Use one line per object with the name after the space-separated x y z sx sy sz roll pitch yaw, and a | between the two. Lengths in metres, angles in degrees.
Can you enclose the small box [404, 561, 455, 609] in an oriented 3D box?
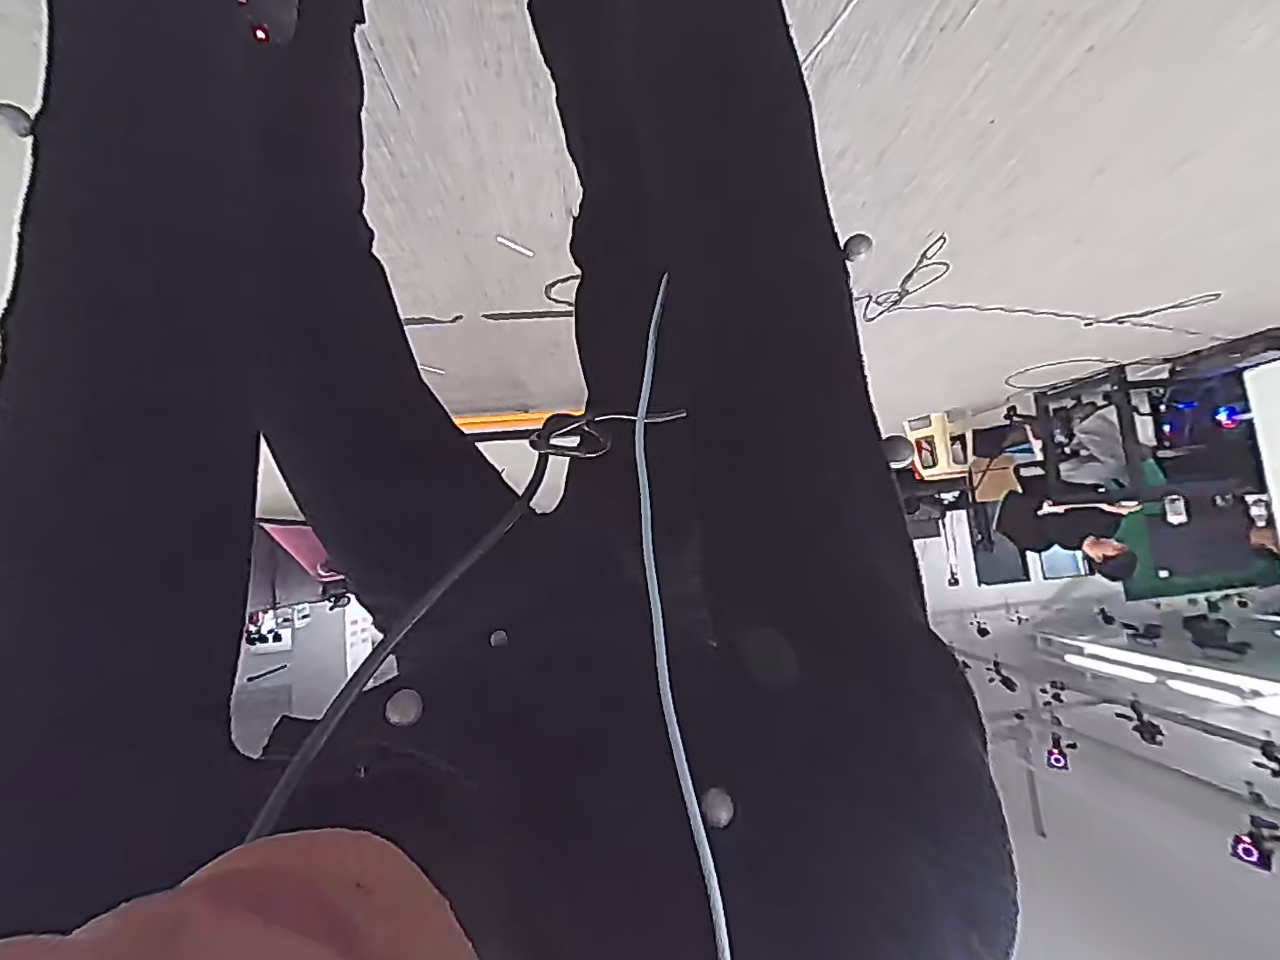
-0.891 0.440 2.289 0.168 0.176 0.179 -5 175 -8 | small box
